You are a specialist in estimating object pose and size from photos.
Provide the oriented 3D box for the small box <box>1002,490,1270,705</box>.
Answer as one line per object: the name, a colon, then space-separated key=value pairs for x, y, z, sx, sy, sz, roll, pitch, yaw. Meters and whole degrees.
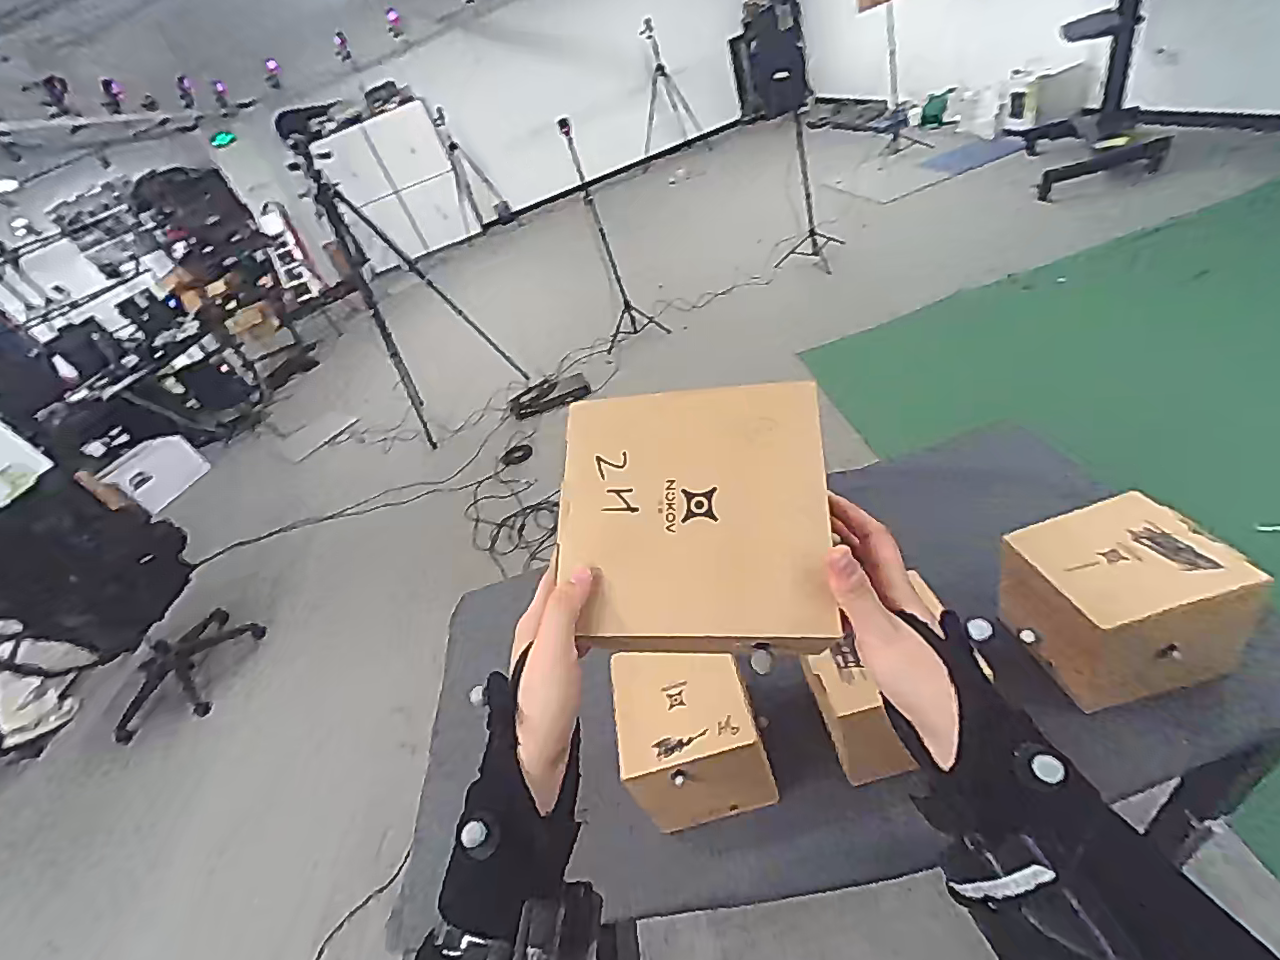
small box: x=0.584 y=0.146 z=0.671 sx=0.179 sy=0.176 sz=0.168 roll=-20 pitch=33 yaw=7

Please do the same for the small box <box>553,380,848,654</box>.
small box: x=0.052 y=0.041 z=0.414 sx=0.179 sy=0.176 sz=0.168 roll=-3 pitch=69 yaw=14

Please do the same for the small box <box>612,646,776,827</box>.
small box: x=0.069 y=0.328 z=0.730 sx=0.168 sy=0.176 sz=0.179 roll=-20 pitch=35 yaw=7
